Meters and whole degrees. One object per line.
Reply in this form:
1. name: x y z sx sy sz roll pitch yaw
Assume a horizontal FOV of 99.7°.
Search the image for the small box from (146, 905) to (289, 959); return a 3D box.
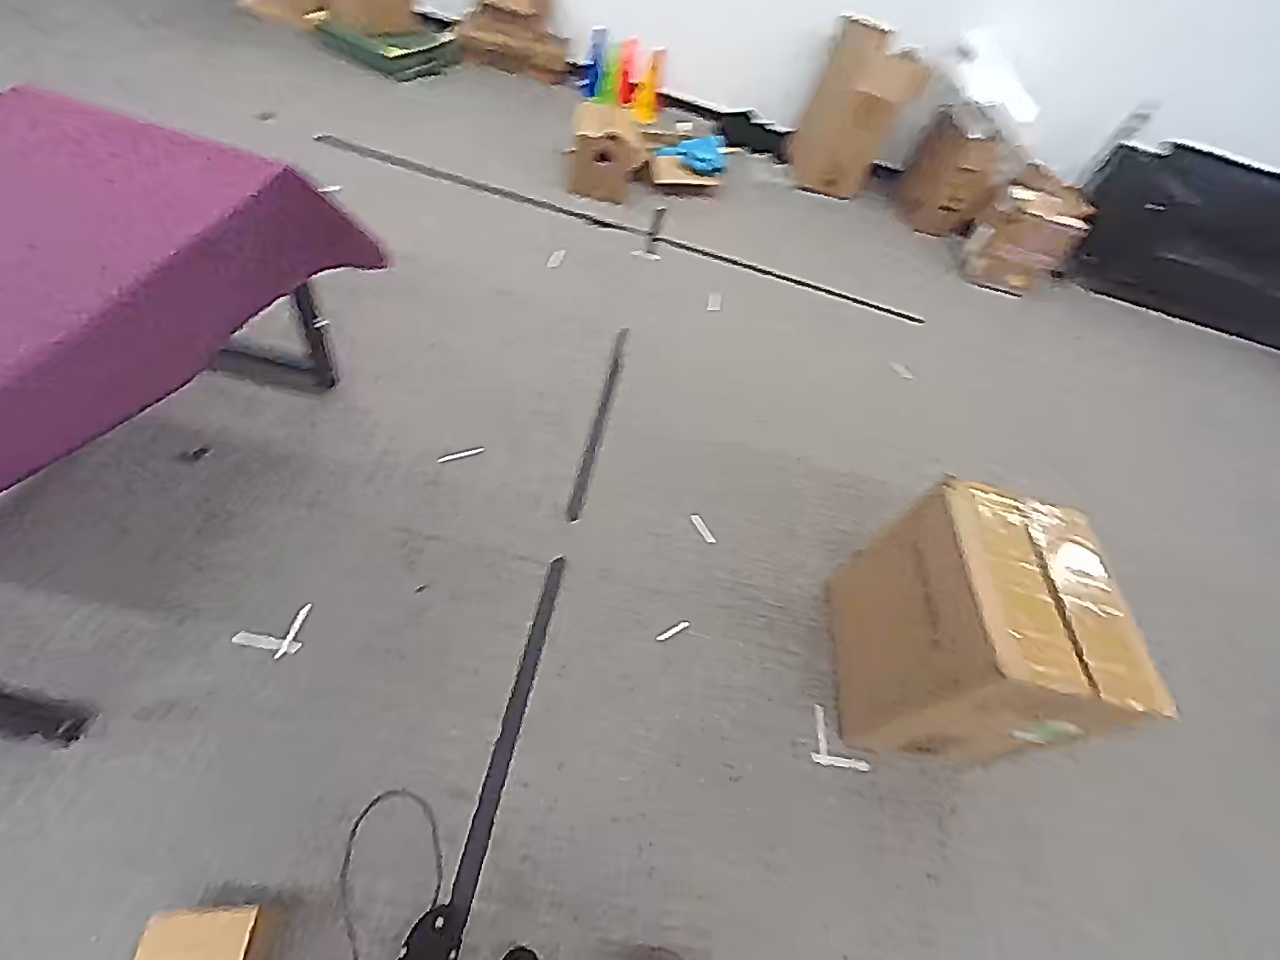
1. small box: -0.759 0.873 0.963 0.168 0.176 0.179 6 50 -12
